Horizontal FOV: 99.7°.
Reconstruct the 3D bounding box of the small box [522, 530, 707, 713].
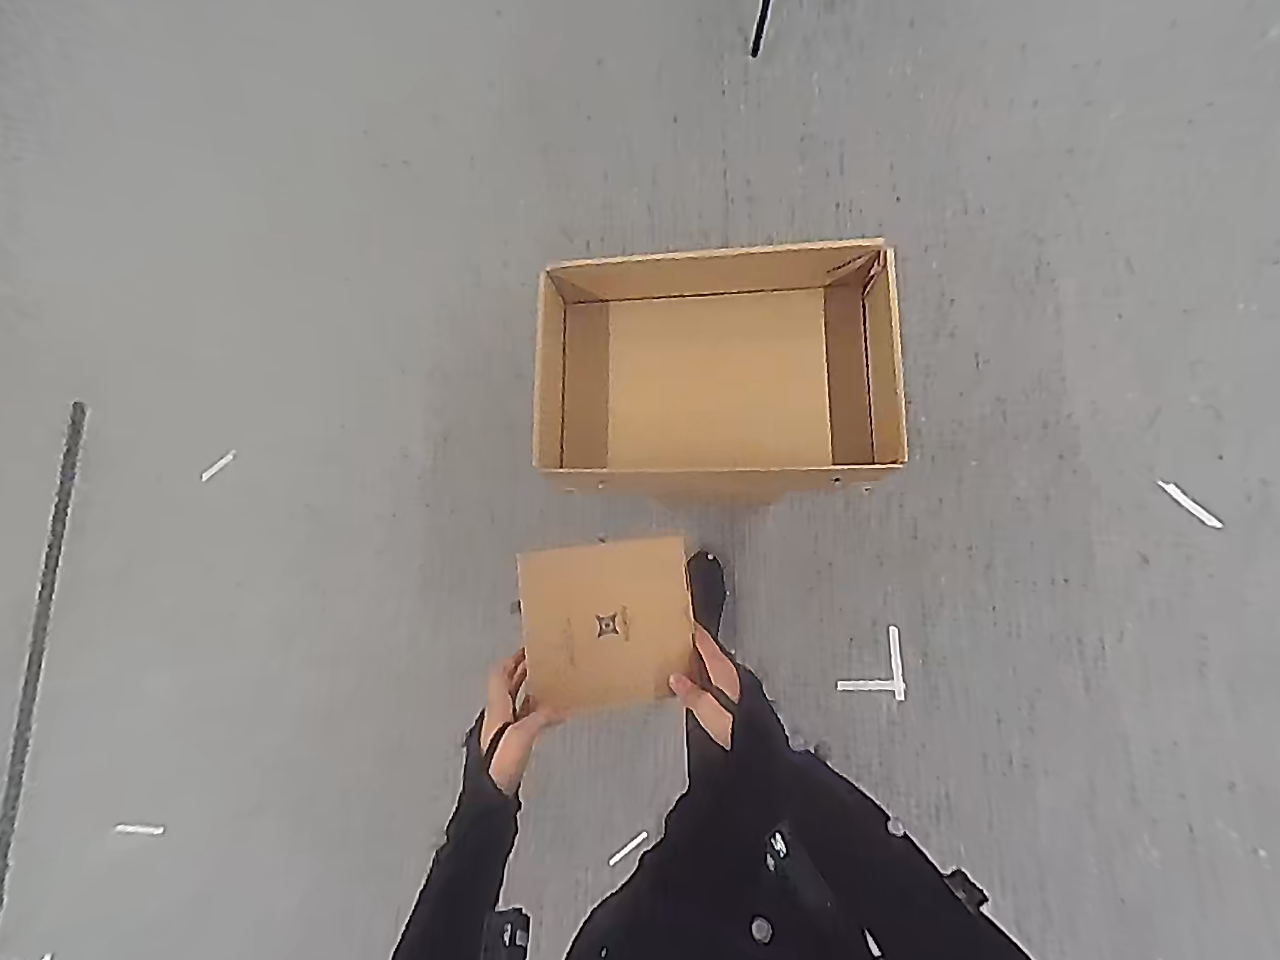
[{"bbox_3d":[-0.040,0.147,0.626,0.179,0.176,0.168,-6,84,-13],"label":"small box"}]
